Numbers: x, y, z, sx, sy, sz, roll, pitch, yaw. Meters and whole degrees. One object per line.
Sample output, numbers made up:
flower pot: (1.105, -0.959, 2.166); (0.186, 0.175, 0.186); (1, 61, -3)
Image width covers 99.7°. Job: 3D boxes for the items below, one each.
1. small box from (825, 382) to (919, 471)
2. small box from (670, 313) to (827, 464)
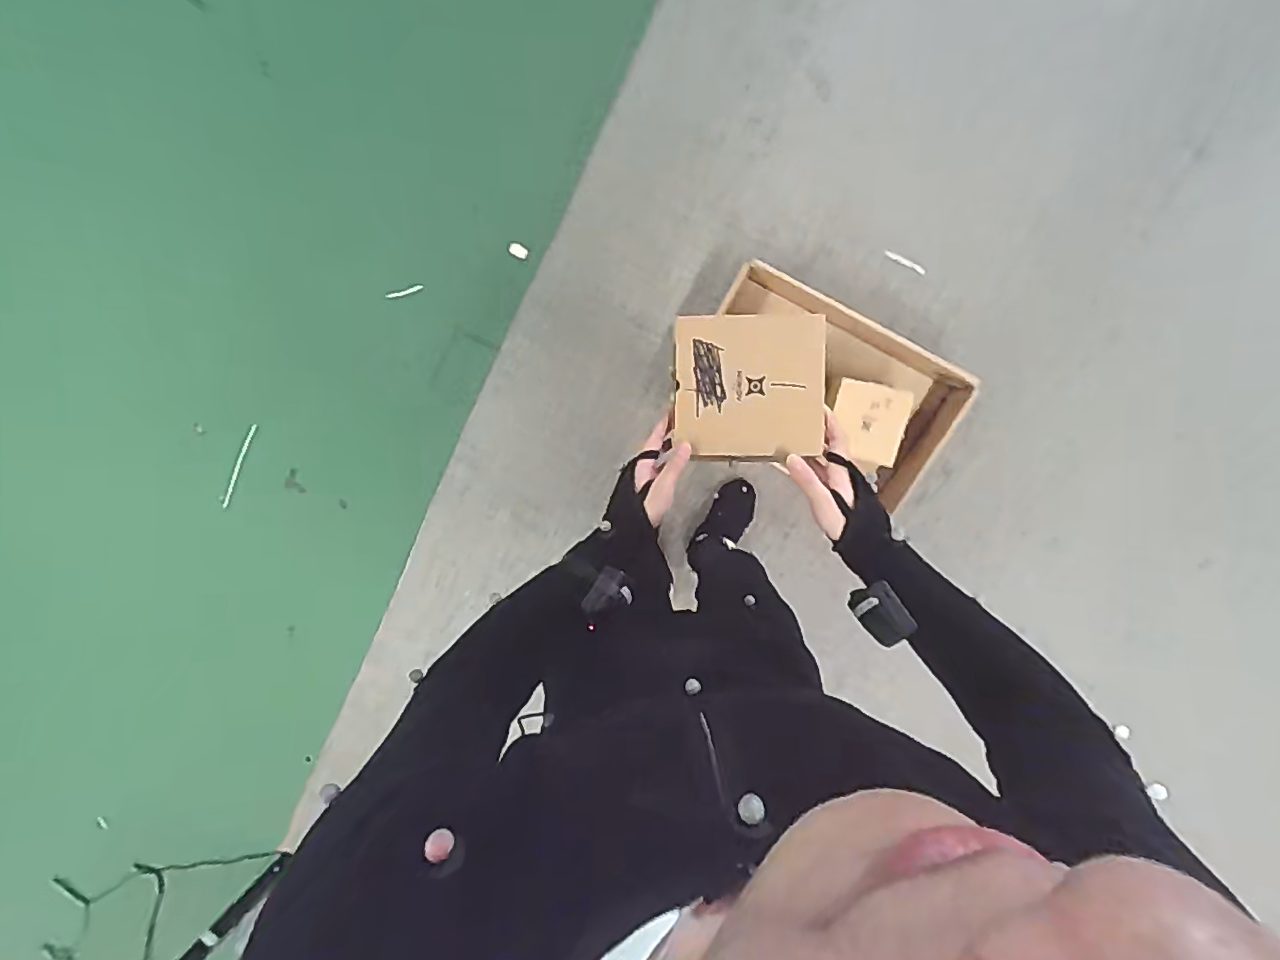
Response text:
small box: (0.547, -0.133, 1.320); (0.168, 0.176, 0.179); (15, 100, 7)
small box: (0.131, -0.106, 0.694); (0.179, 0.176, 0.168); (0, 90, 5)
